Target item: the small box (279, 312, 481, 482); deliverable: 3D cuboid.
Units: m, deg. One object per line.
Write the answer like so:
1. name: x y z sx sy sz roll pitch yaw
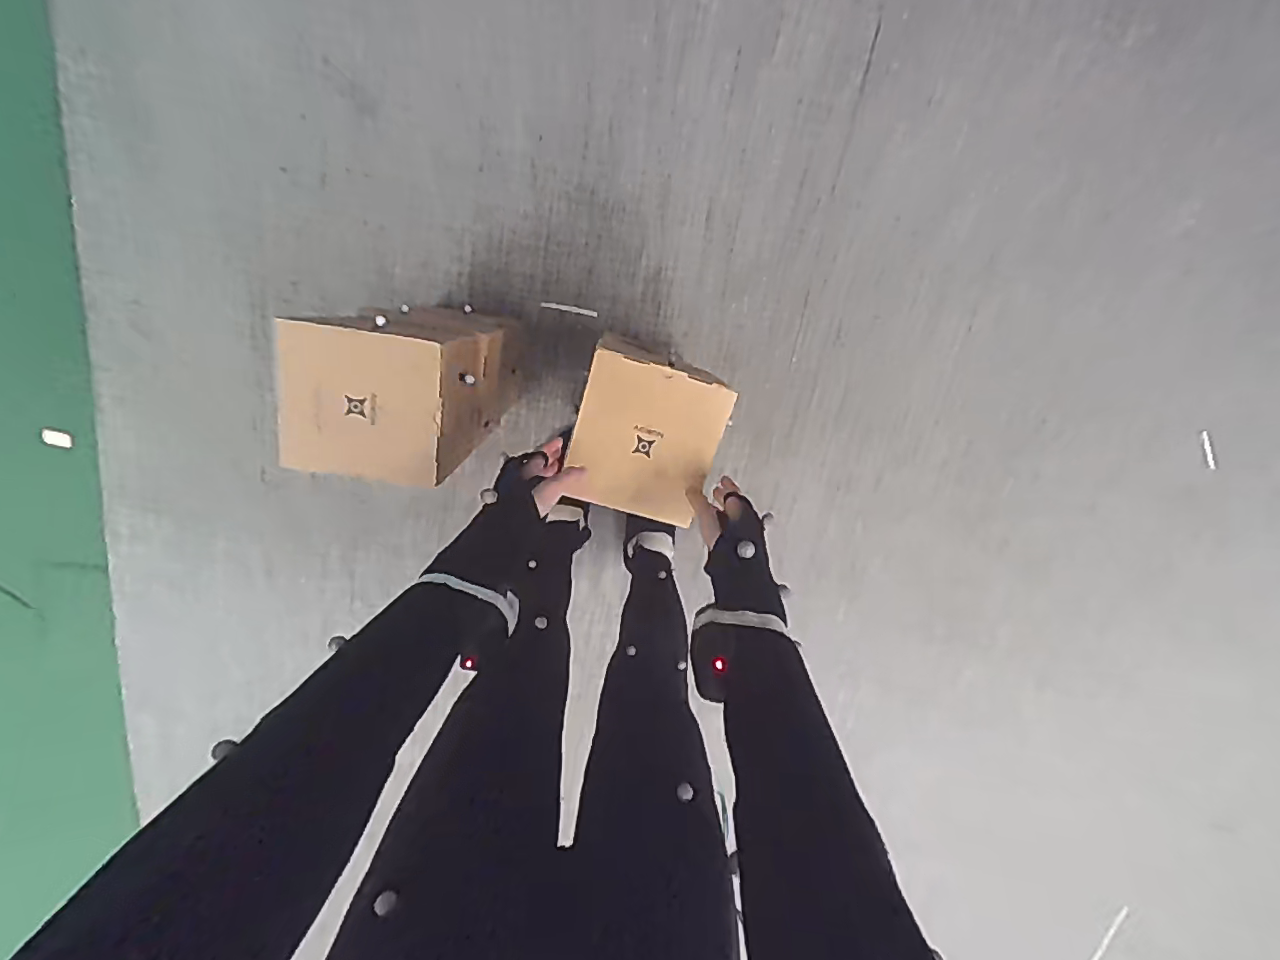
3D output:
1. small box: -0.306 -0.111 0.667 0.179 0.176 0.168 9 107 -4

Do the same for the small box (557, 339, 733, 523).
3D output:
1. small box: 0.002 -0.072 0.698 0.168 0.176 0.179 16 106 -7
